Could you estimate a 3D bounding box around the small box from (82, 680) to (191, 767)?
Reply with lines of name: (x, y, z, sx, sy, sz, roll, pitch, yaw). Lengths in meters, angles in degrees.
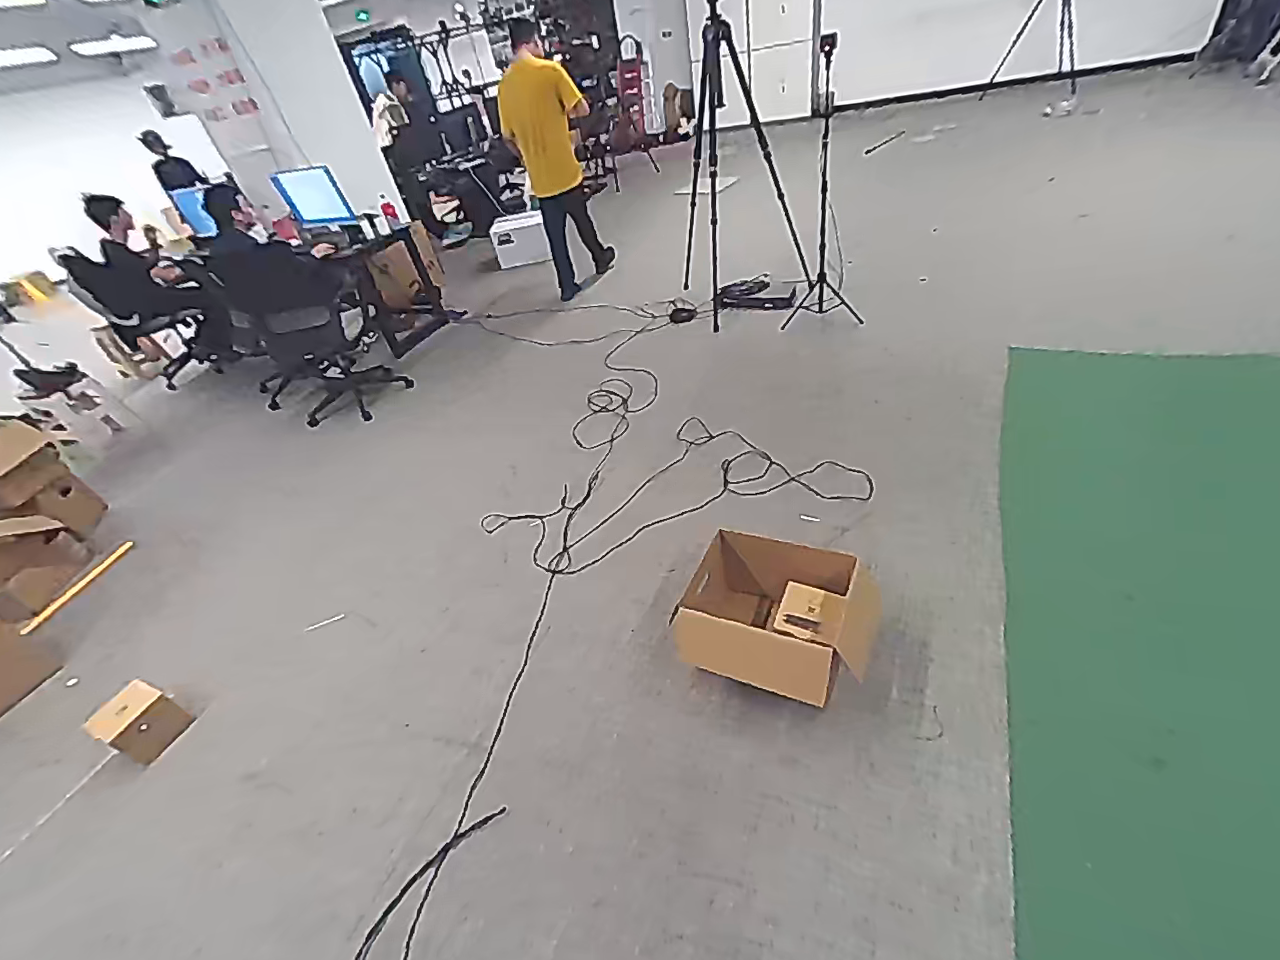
small box: (-1.615, 0.789, 1.750, 0.168, 0.176, 0.179, 9, 45, 24)
